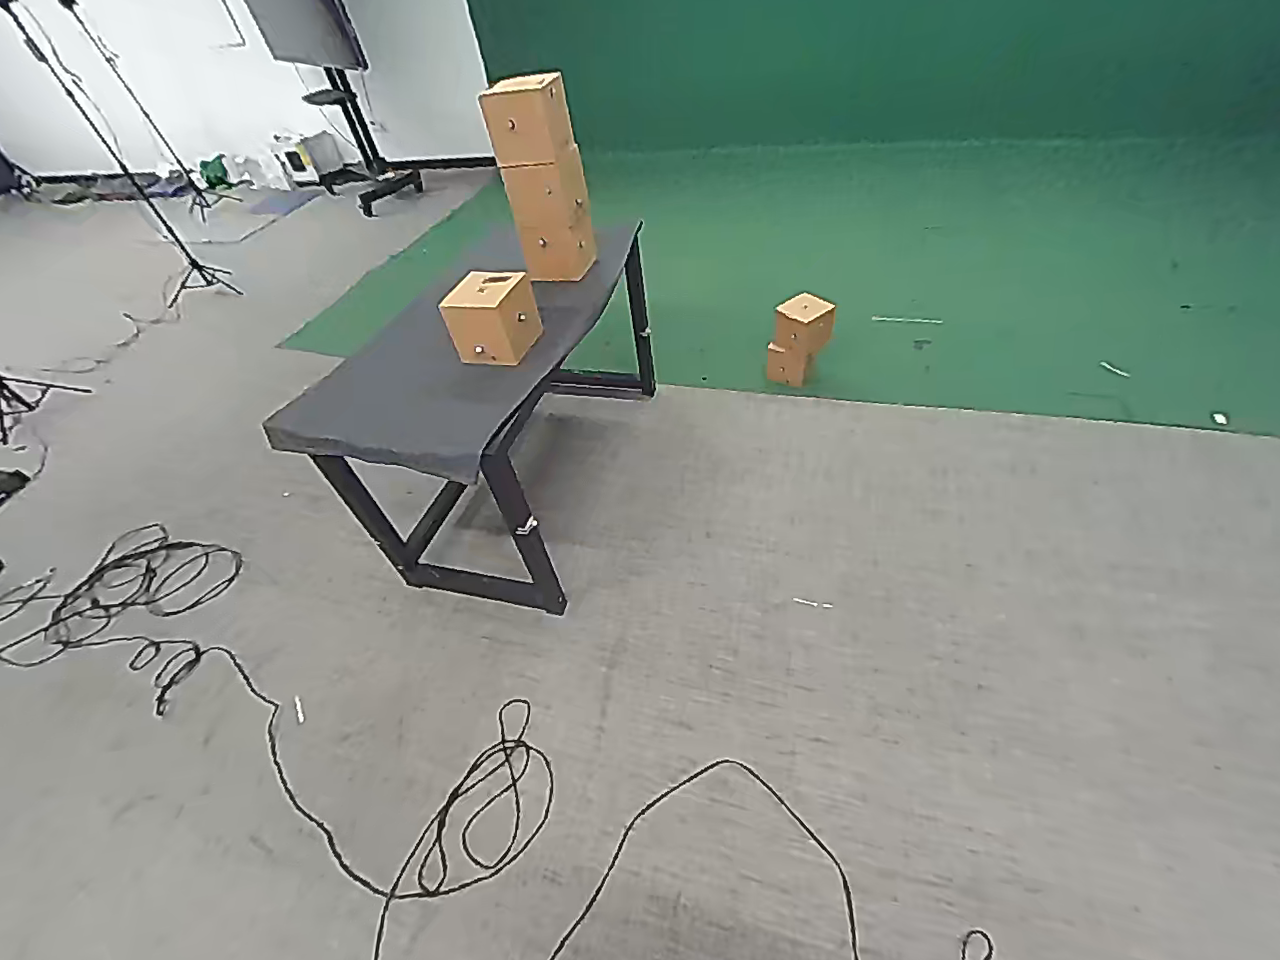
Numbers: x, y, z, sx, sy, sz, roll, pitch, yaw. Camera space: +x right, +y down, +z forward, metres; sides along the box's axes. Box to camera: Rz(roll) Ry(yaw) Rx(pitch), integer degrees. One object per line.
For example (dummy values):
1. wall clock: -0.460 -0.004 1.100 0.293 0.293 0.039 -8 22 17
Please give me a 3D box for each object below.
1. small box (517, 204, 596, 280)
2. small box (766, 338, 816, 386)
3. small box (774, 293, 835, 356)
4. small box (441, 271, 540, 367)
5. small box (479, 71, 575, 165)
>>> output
1. small box: -0.249 -0.735 1.676 0.179 0.176 0.168 7 48 17
2. small box: 0.660 -0.534 2.353 0.168 0.176 0.179 22 53 26
3. small box: 0.670 -0.637 2.223 0.179 0.176 0.168 -31 51 -21
4. small box: -0.373 -0.416 1.391 0.168 0.176 0.179 8 49 17
5. small box: -0.291 -0.958 1.439 0.179 0.176 0.168 4 48 15
